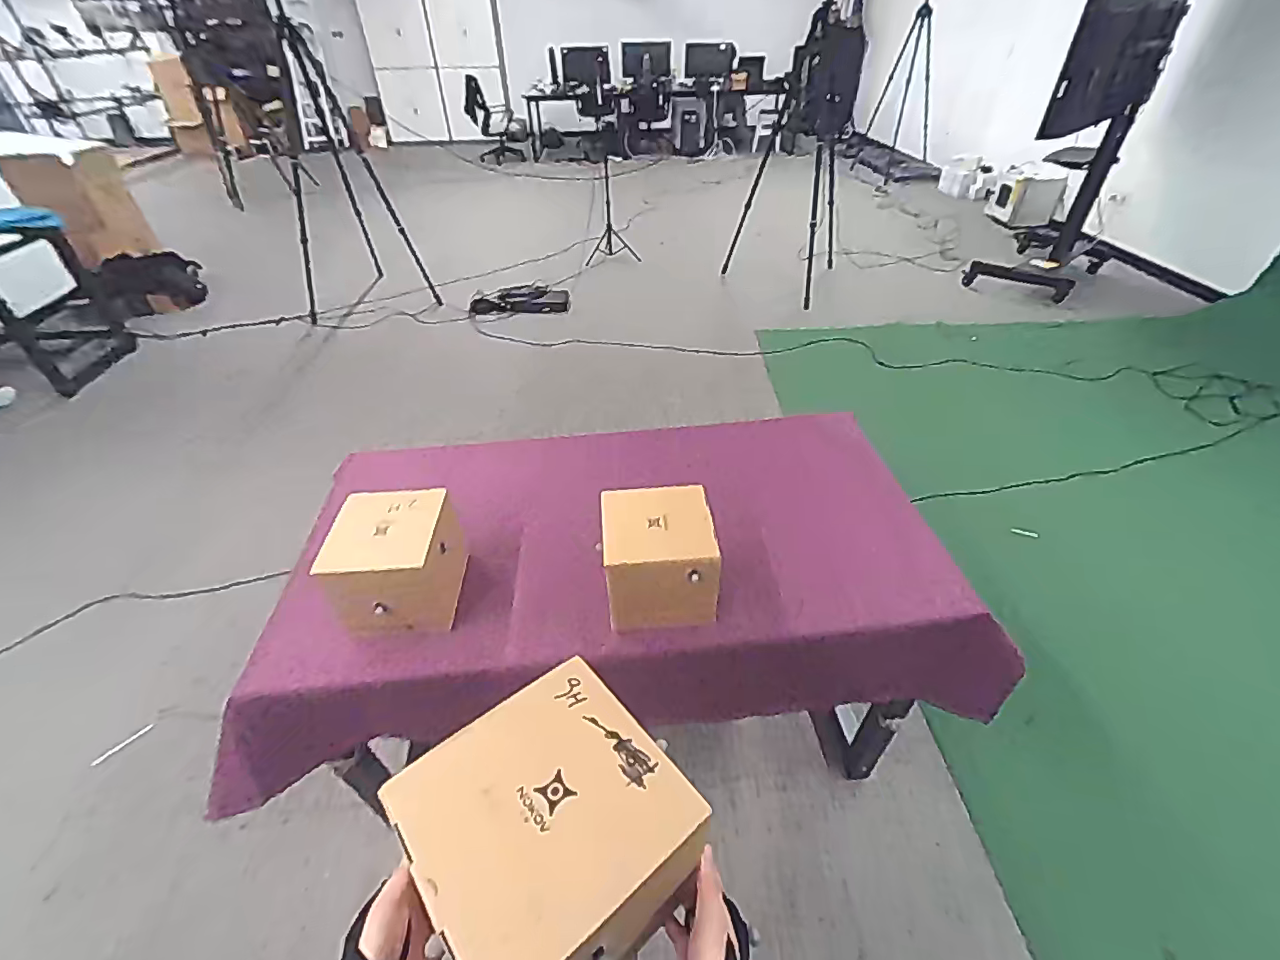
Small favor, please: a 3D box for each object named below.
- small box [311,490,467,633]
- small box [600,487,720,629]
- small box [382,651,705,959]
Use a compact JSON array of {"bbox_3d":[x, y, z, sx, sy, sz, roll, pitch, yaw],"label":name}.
[{"bbox_3d":[-0.399,0.139,0.897,0.168,0.176,0.179,-3,41,-2],"label":"small box"},{"bbox_3d":[0.029,0.131,0.897,0.179,0.176,0.168,-4,41,-3],"label":"small box"},{"bbox_3d":[-0.069,0.282,0.429,0.179,0.176,0.168,-26,46,-30],"label":"small box"}]
